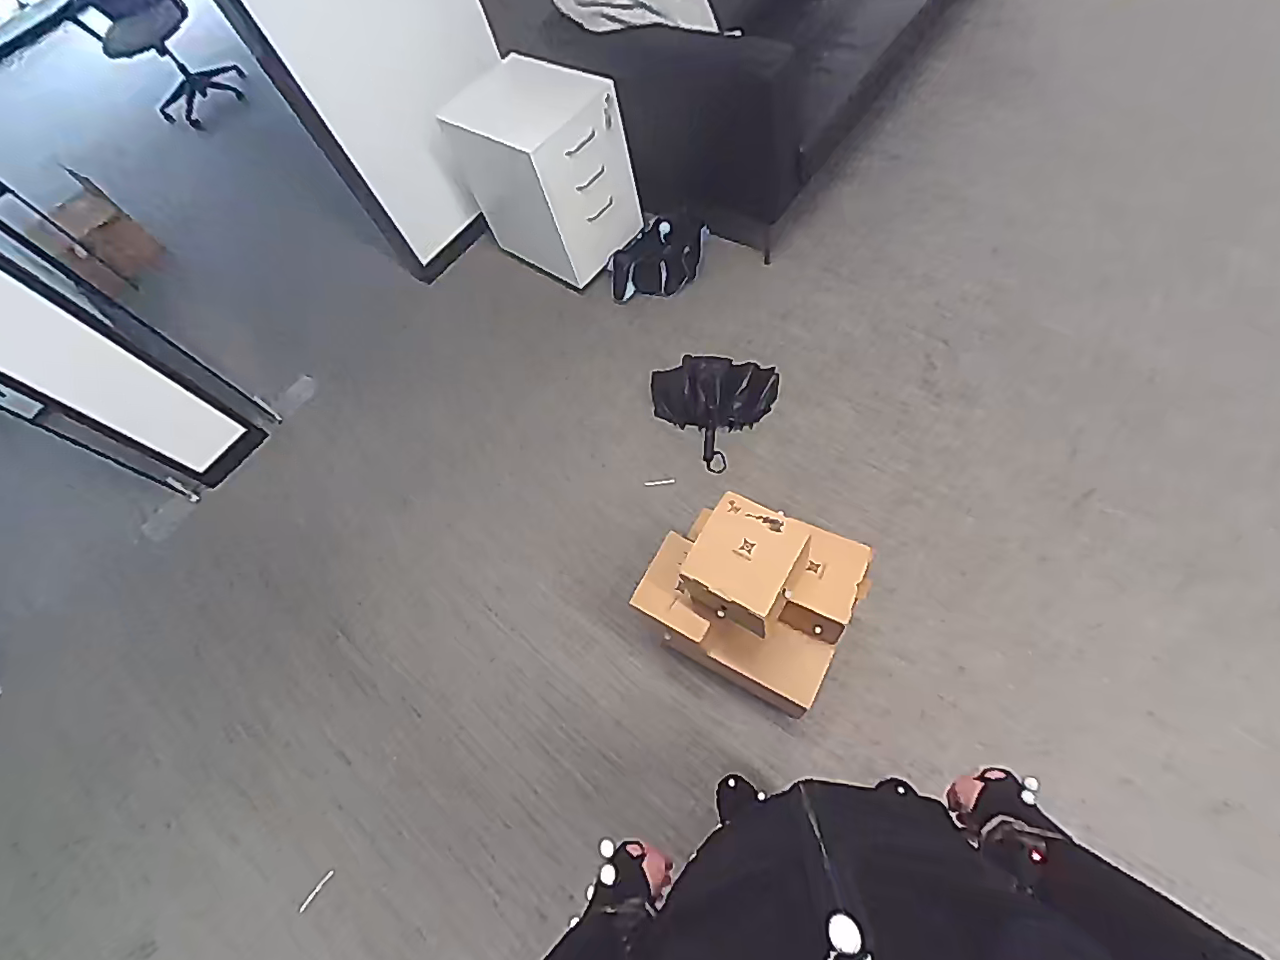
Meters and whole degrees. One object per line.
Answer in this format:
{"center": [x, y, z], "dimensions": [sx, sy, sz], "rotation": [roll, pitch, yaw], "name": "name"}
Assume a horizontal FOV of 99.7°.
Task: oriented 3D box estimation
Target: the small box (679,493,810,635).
{"center": [0.196, 0.160, 0.985], "dimensions": [0.168, 0.176, 0.179], "rotation": [26, 73, 25], "name": "small box"}

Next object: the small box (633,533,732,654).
{"center": [0.110, 0.246, 1.151], "dimensions": [0.168, 0.176, 0.179], "rotation": [25, 74, 24], "name": "small box"}

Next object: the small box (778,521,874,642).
{"center": [0.355, 0.215, 1.111], "dimensions": [0.179, 0.176, 0.168], "rotation": [20, 66, 23], "name": "small box"}
